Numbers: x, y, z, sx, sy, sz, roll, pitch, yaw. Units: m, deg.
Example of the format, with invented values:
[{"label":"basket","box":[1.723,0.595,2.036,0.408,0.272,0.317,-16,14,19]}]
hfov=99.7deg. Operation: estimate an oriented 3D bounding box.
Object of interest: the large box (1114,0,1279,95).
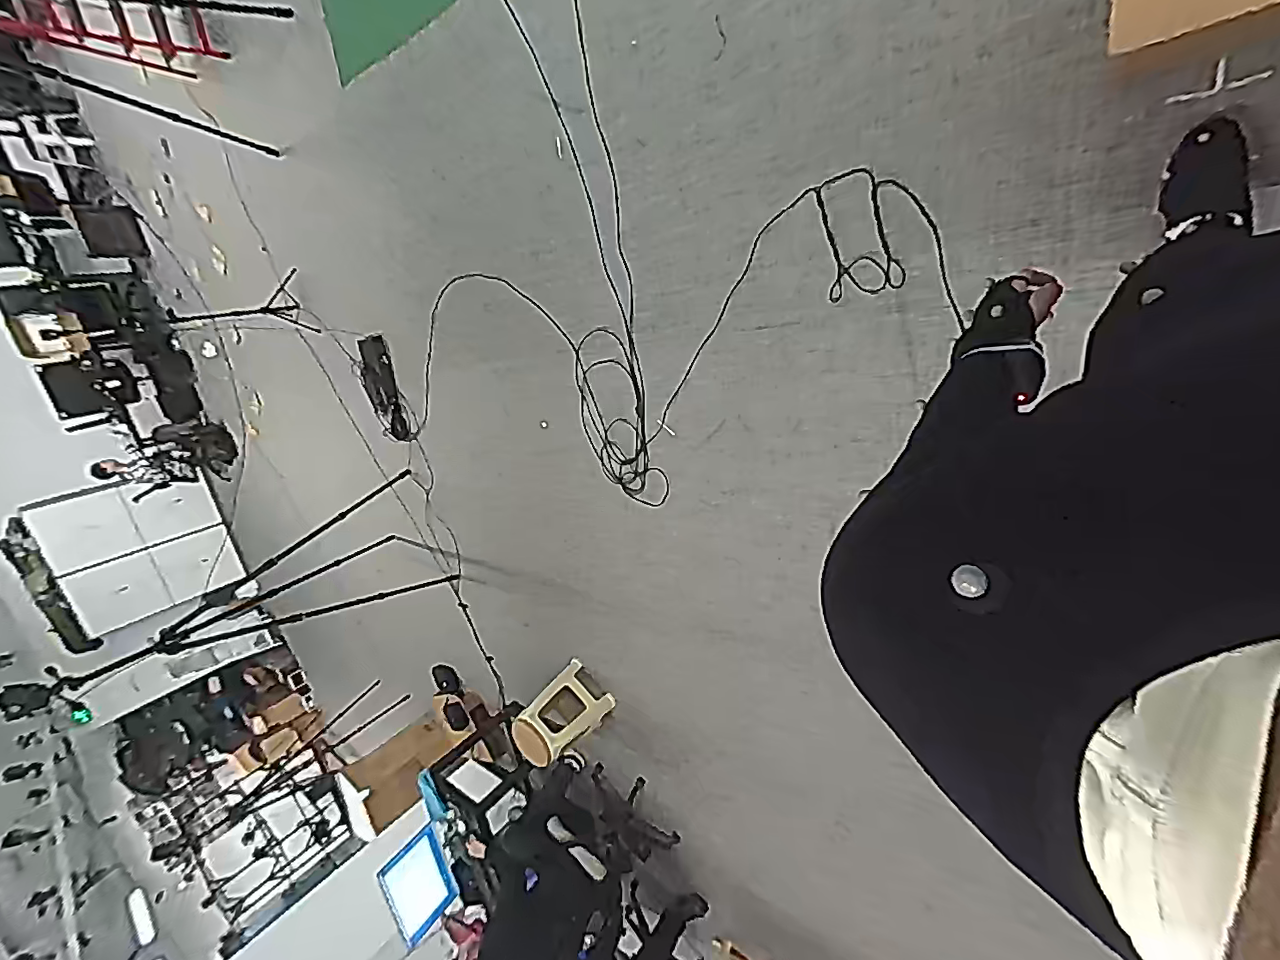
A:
[{"label":"large box","box":[0.994,-0.869,0.824,0.408,0.320,0.320,3,111,40]}]
